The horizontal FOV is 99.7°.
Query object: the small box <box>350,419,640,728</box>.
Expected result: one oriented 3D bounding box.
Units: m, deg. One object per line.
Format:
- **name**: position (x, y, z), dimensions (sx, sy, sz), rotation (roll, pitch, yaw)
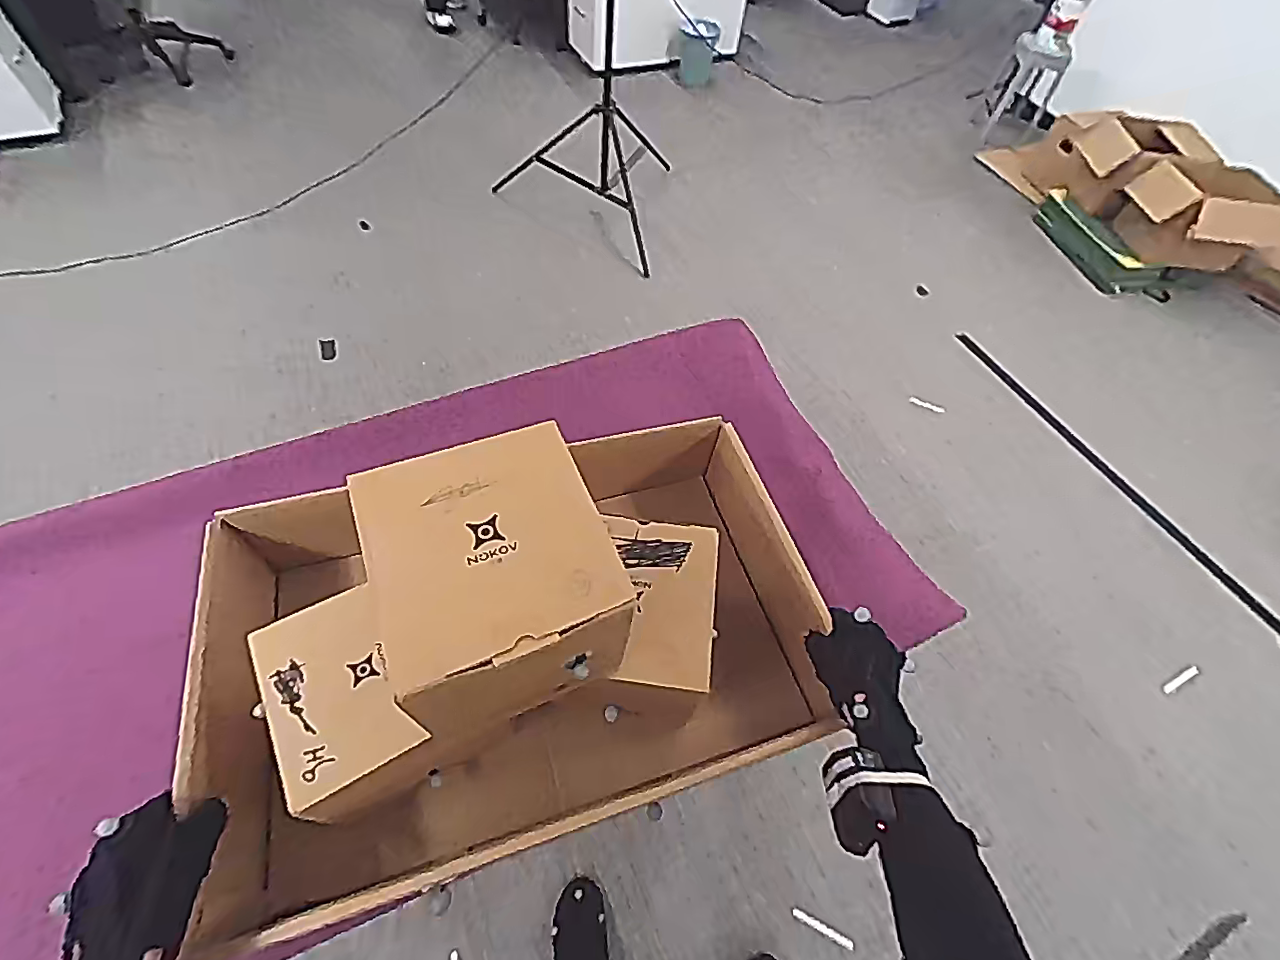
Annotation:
- **small box**: position (-0.114, 0.084, 0.446), dimensions (0.168, 0.176, 0.179), rotation (-18, 59, -19)
